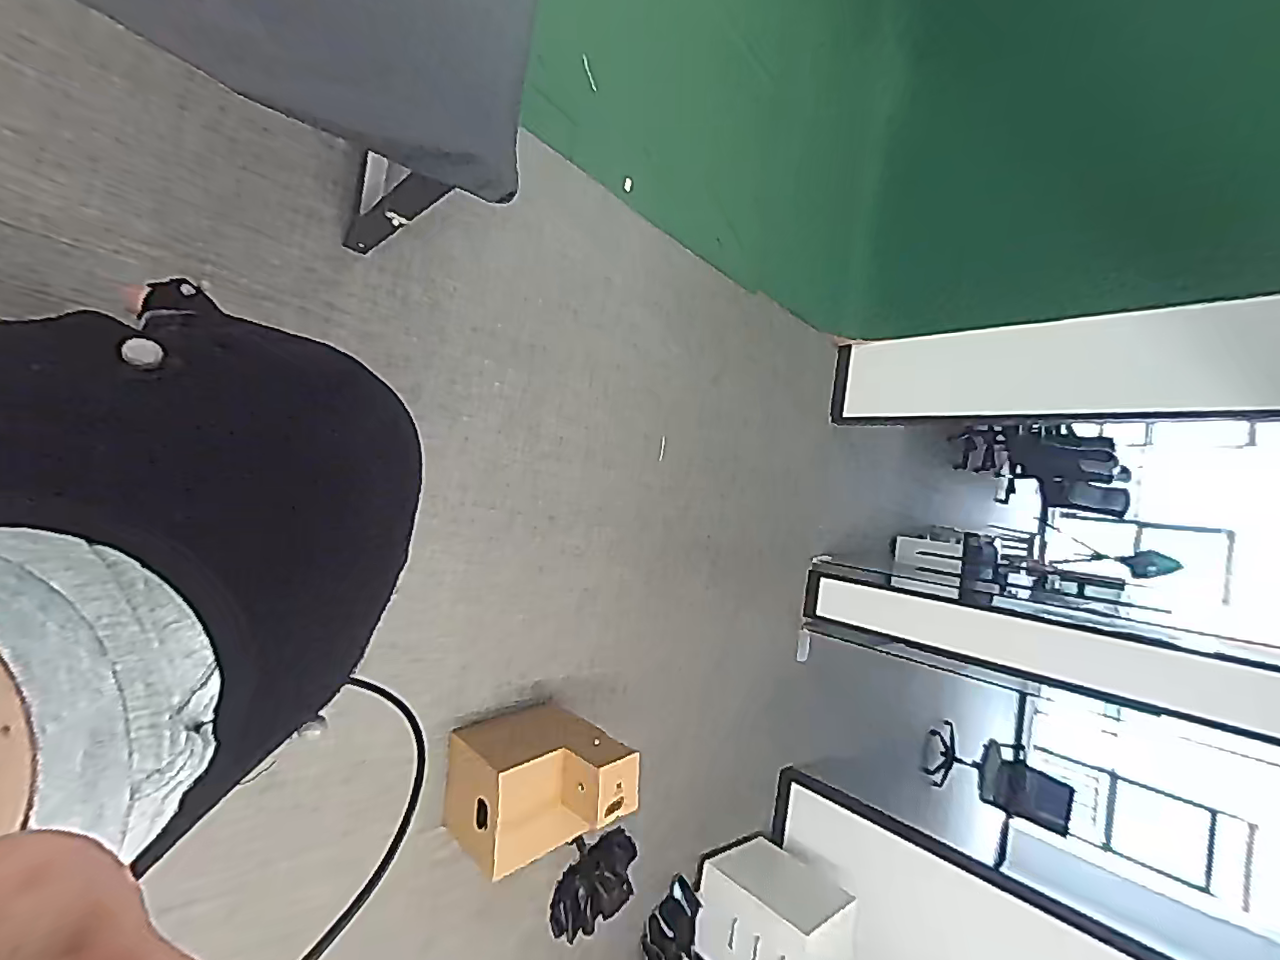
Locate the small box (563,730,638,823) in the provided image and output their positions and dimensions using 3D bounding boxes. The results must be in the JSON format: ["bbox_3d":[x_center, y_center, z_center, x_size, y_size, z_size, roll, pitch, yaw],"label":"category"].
[{"bbox_3d":[-0.125,0.903,1.665,0.168,0.176,0.179,4,87,-45],"label":"small box"}]
